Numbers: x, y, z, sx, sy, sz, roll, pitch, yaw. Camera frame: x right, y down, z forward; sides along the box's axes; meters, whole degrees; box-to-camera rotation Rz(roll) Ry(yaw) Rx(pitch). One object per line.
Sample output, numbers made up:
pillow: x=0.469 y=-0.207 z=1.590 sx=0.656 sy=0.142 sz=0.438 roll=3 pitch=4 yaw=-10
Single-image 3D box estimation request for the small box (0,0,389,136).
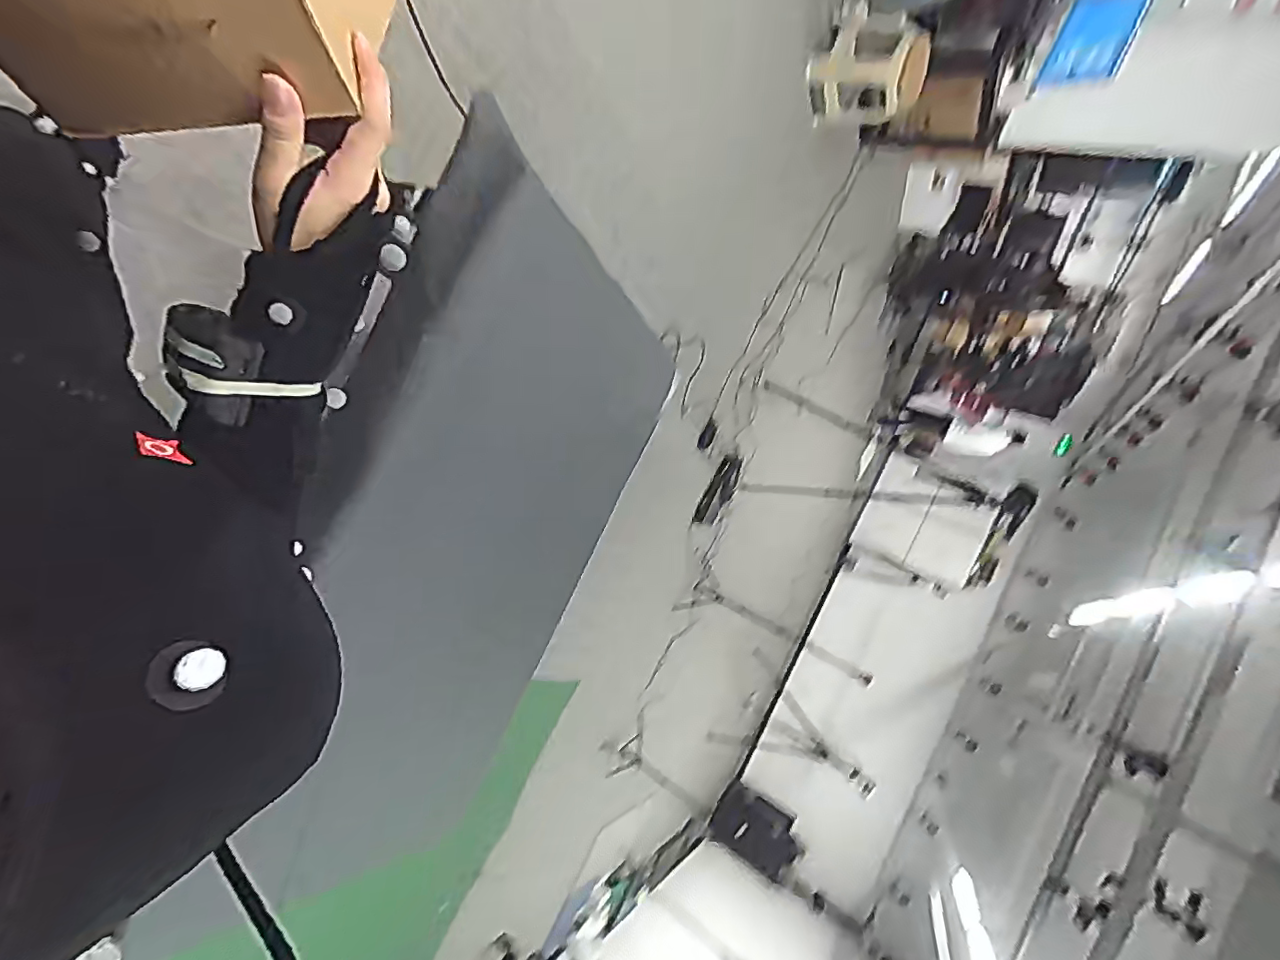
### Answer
small box: x=-0.237 y=-0.303 z=0.248 sx=0.179 sy=0.168 sz=0.176 roll=78 pitch=9 yaw=-66
